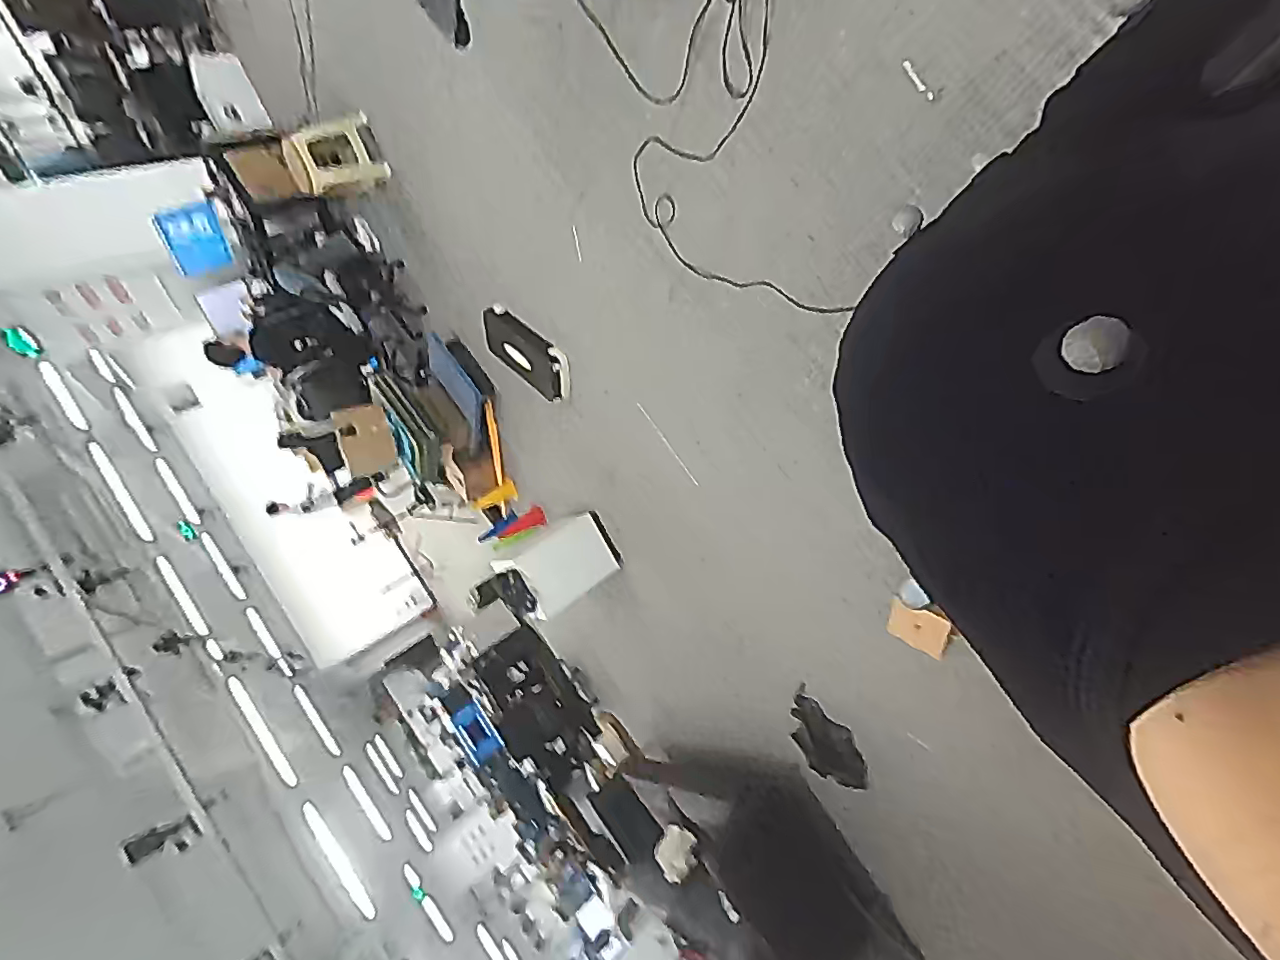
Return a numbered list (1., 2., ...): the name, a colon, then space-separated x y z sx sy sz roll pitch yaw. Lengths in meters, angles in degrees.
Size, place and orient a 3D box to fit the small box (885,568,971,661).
1. small box: 0.881 0.408 1.656 0.168 0.176 0.179 28 138 40
